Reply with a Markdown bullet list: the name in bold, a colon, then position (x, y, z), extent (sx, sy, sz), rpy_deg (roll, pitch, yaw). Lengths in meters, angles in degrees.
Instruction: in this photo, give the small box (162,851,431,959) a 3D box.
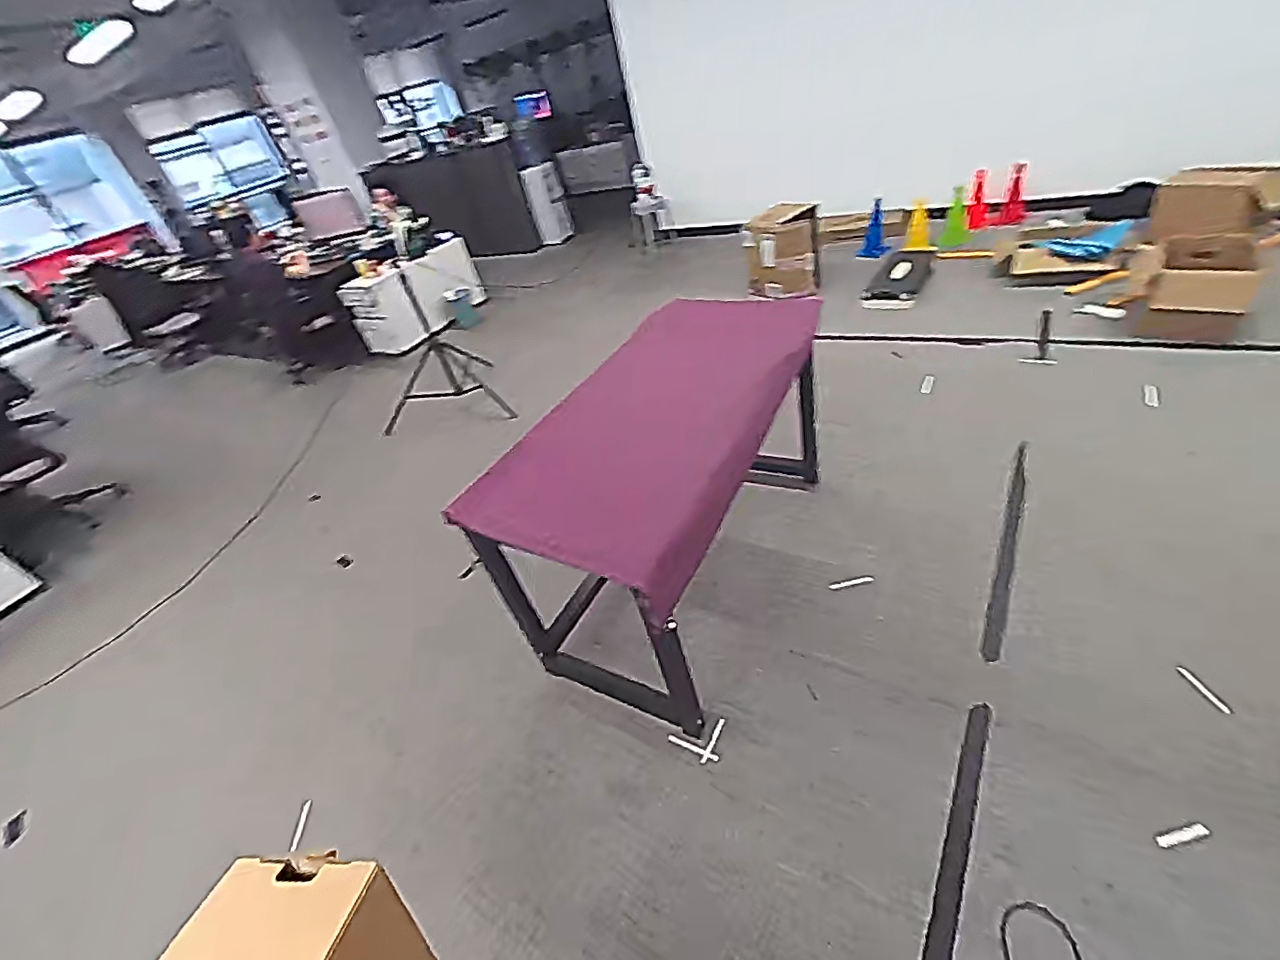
- **small box**: position (-0.317, 0.477, 0.485), extent (0.168, 0.176, 0.179), rpy_deg (-6, 22, 12)
